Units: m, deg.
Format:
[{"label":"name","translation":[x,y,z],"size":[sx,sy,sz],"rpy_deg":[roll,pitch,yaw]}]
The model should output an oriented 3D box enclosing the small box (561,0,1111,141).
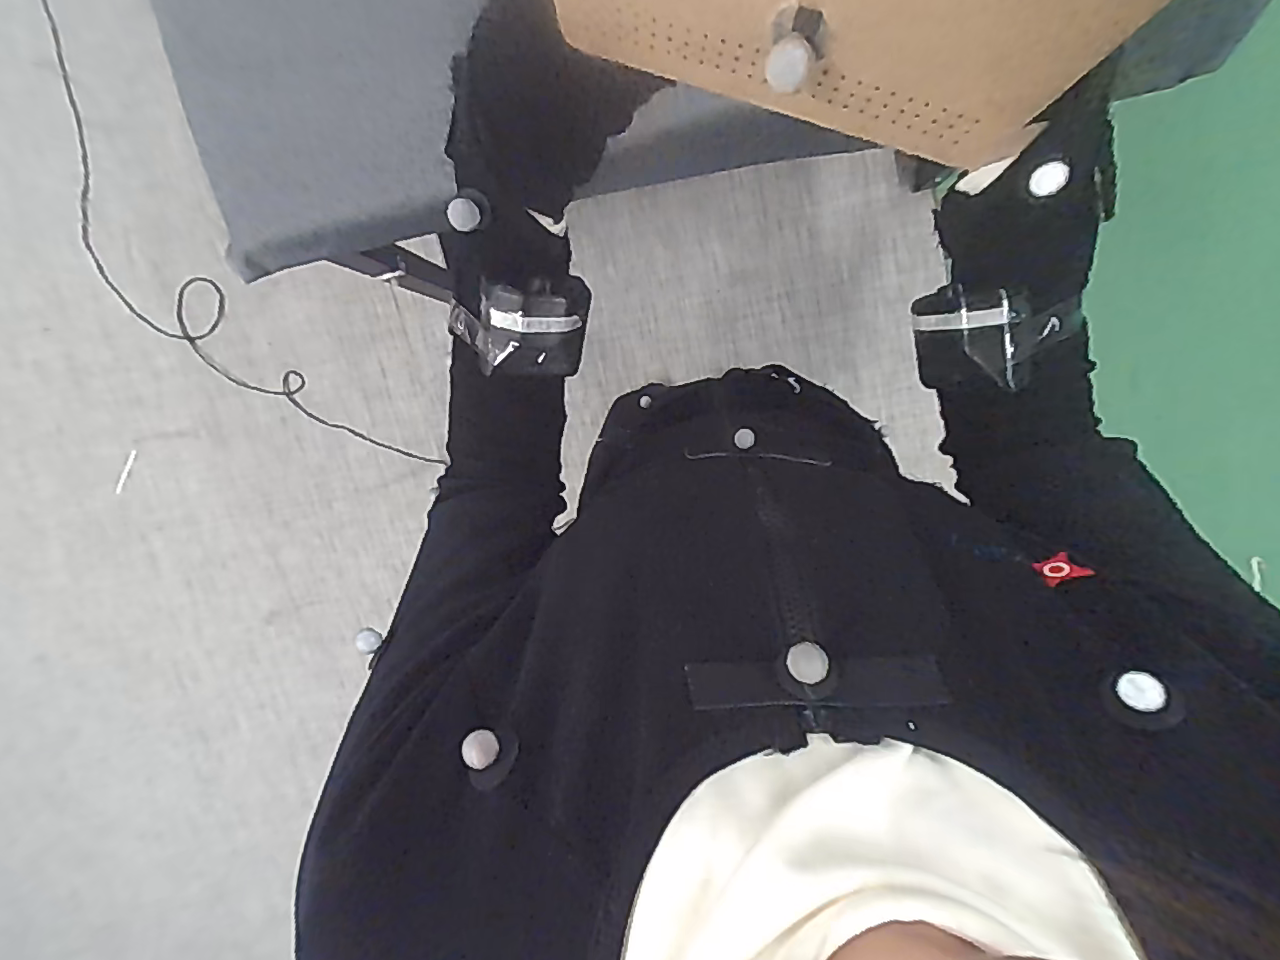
[{"label":"small box","translation":[0.074,-0.230,0.141],"size":[0.179,0.176,0.168],"rpy_deg":[16,91,-2]}]
